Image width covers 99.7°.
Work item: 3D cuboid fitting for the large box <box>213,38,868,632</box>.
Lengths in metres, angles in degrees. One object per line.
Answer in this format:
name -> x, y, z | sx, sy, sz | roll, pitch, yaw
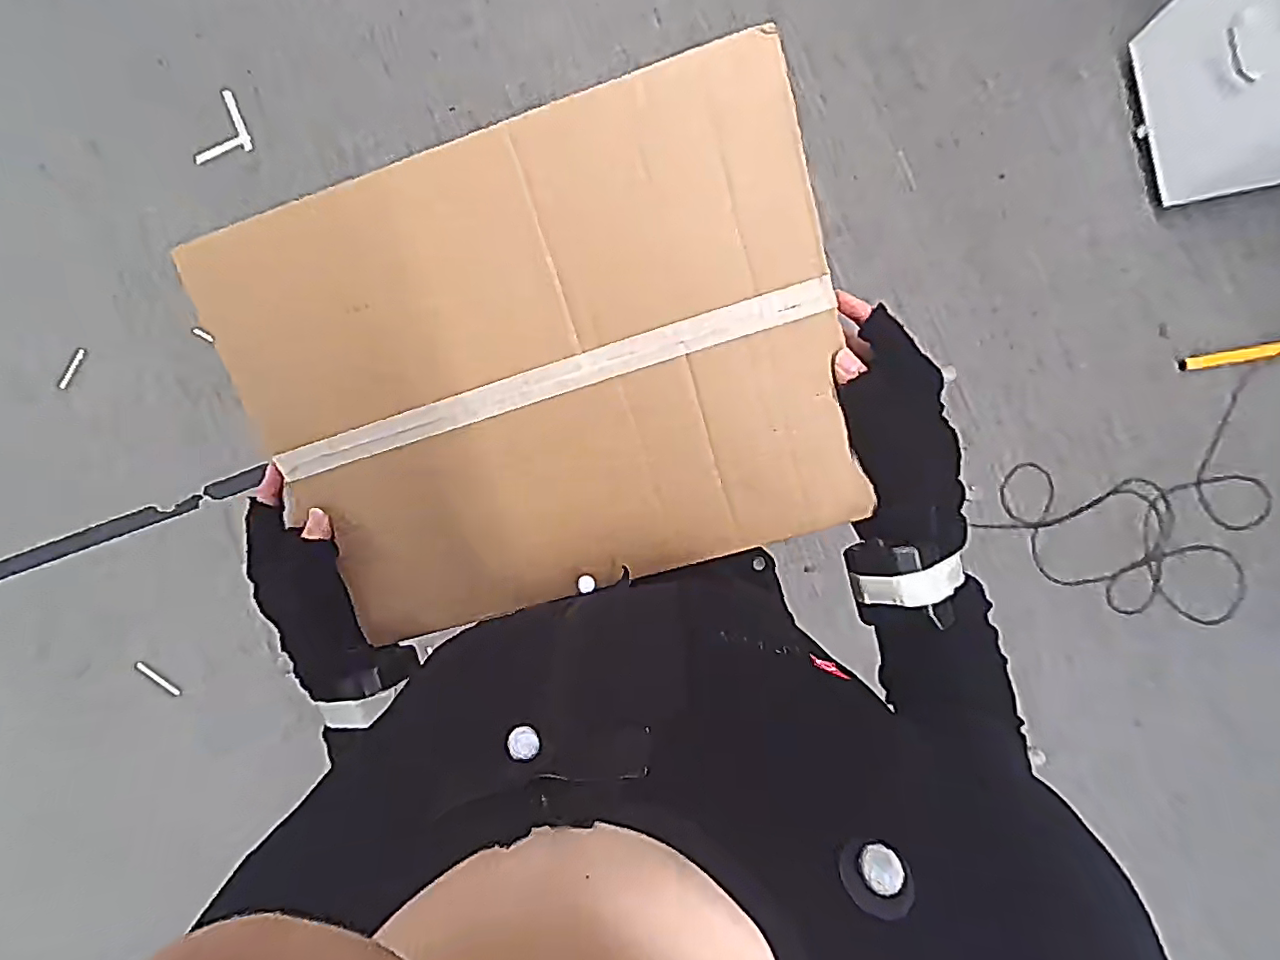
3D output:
large box -> -0.059, -0.107, 0.525 | 0.408, 0.320, 0.320 | -16, 105, 7
